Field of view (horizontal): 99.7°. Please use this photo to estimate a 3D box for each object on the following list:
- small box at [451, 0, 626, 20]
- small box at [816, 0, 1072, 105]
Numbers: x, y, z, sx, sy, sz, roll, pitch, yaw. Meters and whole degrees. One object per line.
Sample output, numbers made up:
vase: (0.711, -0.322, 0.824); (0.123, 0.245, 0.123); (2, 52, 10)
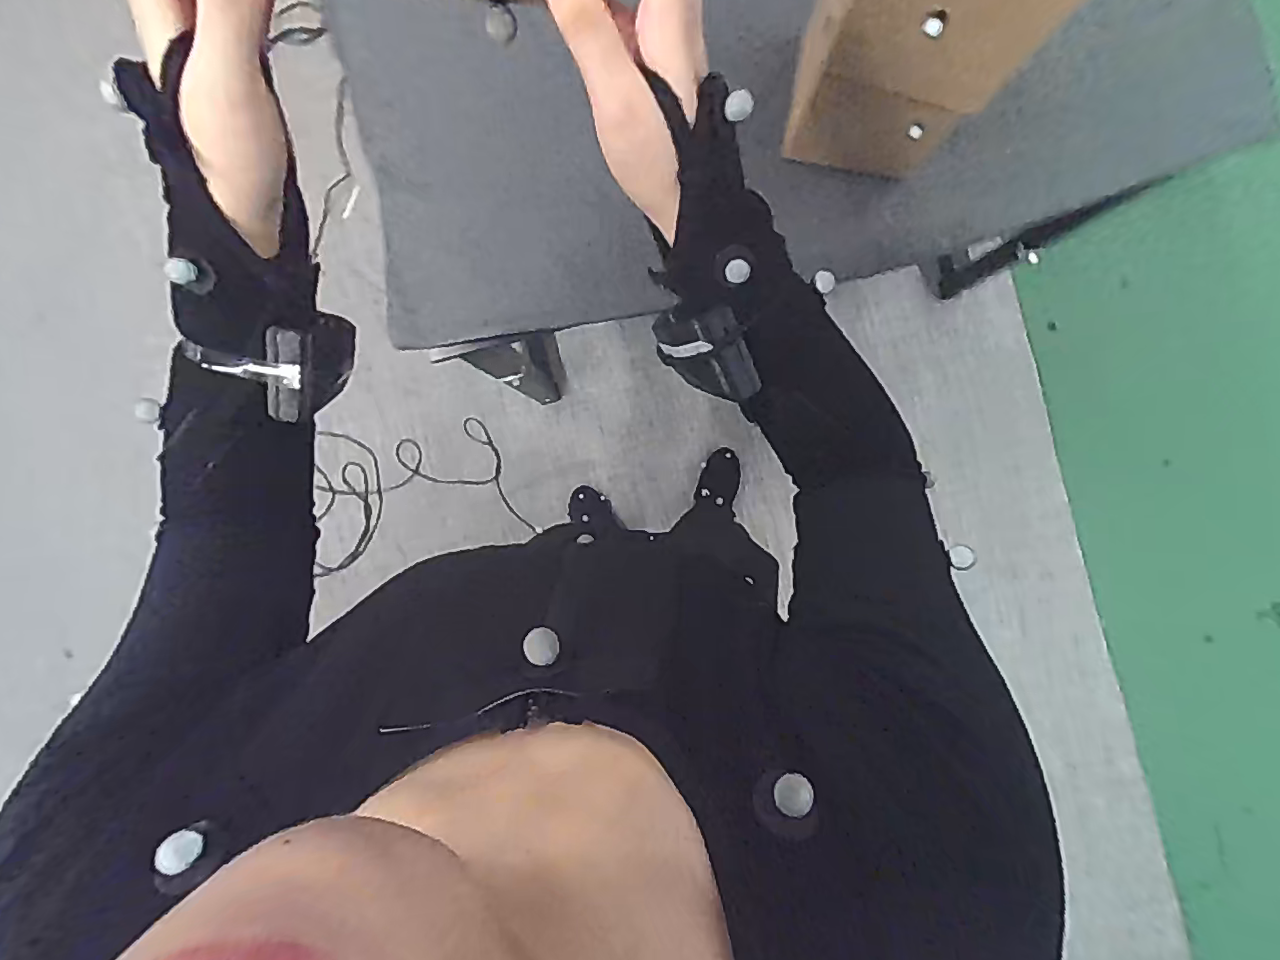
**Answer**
small box: (-0.095, -0.312, 0.227); (0.179, 0.176, 0.168); (-1, 130, -9)
small box: (0.289, -0.488, 0.493); (0.179, 0.176, 0.168); (16, 91, 0)
